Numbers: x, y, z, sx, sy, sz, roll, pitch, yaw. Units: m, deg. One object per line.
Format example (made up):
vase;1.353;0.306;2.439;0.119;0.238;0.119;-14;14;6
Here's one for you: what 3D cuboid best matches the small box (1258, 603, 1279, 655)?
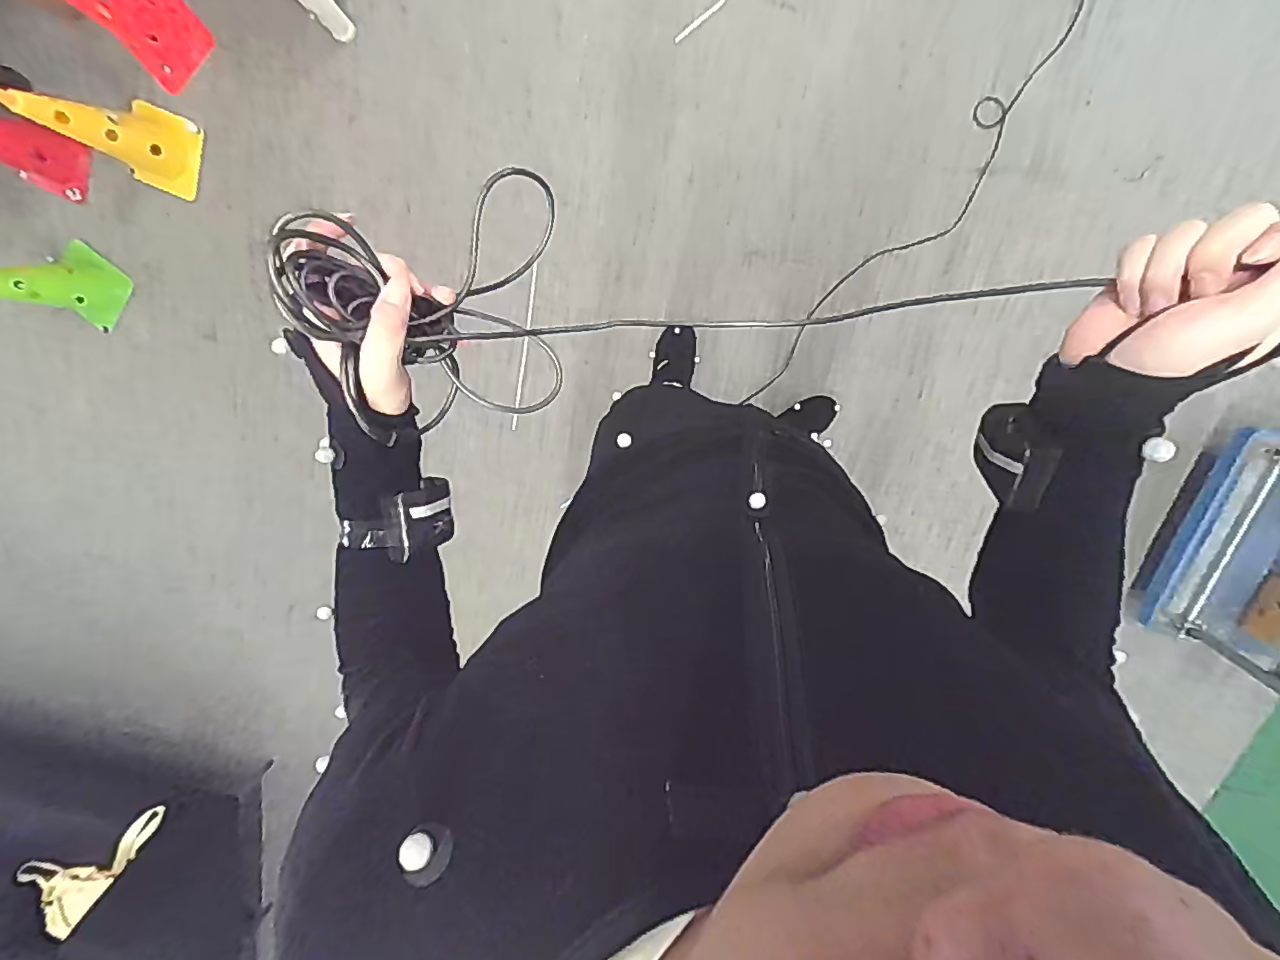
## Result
small box;1.700;0.389;1.309;0.179;0.176;0.168;13;106;3
